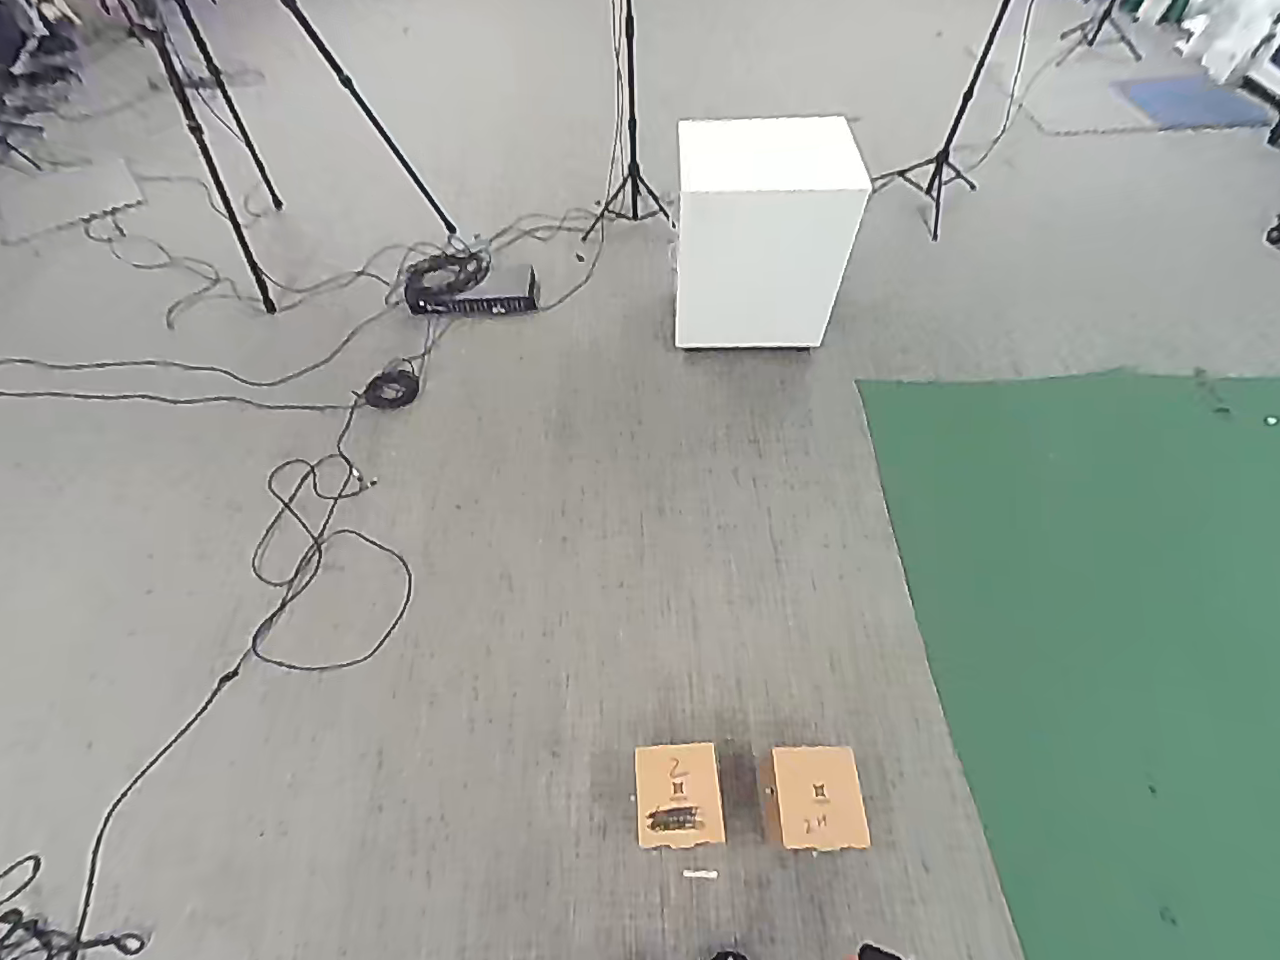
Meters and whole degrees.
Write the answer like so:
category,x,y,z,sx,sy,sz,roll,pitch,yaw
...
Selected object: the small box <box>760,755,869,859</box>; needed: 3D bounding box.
category,x,y,z,sx,sy,sz,roll,pitch,yaw
small box,0.352,0.683,1.128,0.168,0.176,0.179,-1,56,2
